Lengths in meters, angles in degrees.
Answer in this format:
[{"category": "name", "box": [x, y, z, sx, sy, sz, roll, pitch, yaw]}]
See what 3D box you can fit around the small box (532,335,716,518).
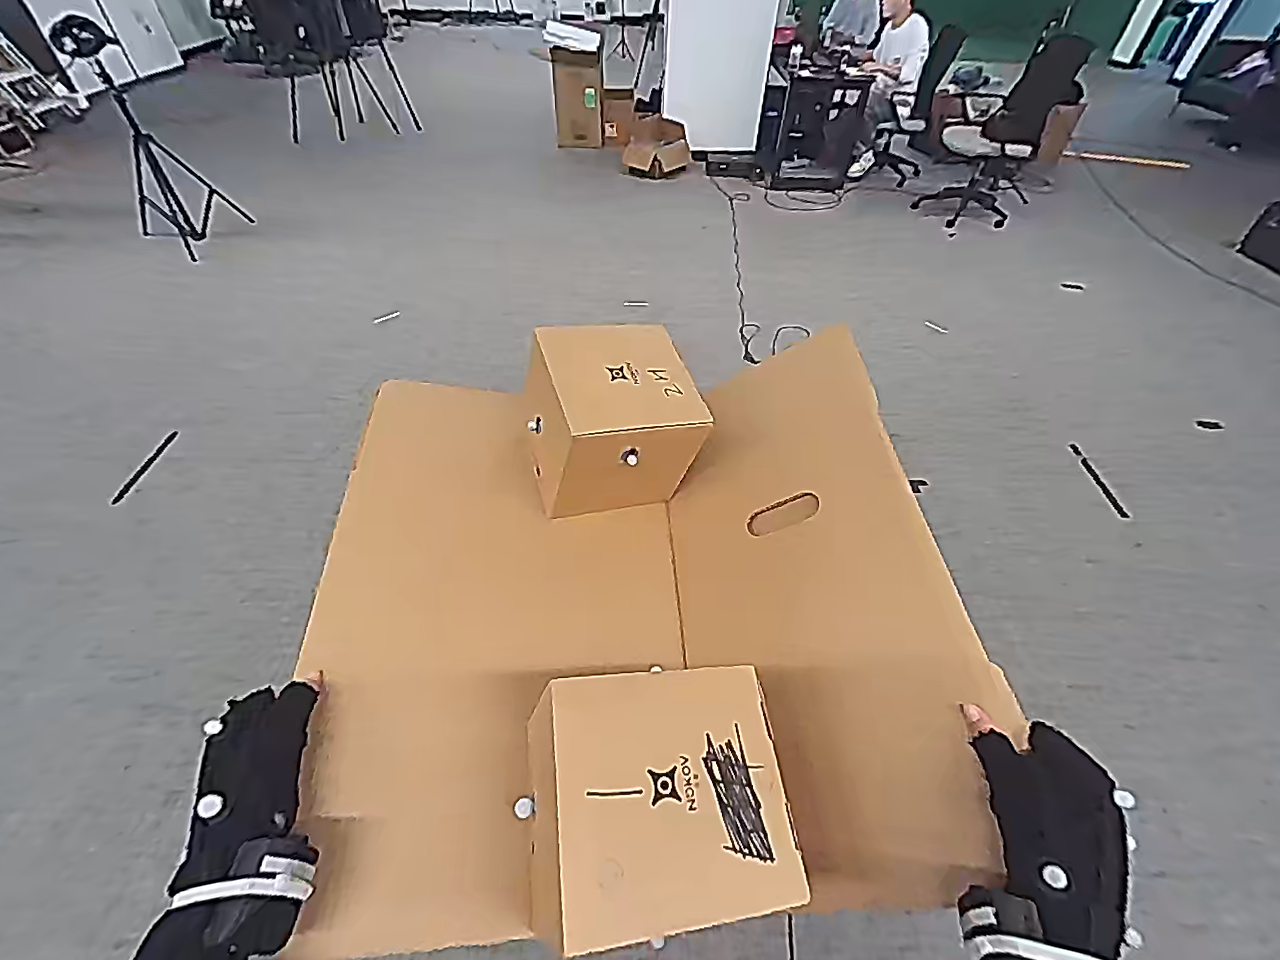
[{"category": "small box", "box": [-0.035, -0.065, 0.691, 0.179, 0.176, 0.168, -6, 58, -24]}]
